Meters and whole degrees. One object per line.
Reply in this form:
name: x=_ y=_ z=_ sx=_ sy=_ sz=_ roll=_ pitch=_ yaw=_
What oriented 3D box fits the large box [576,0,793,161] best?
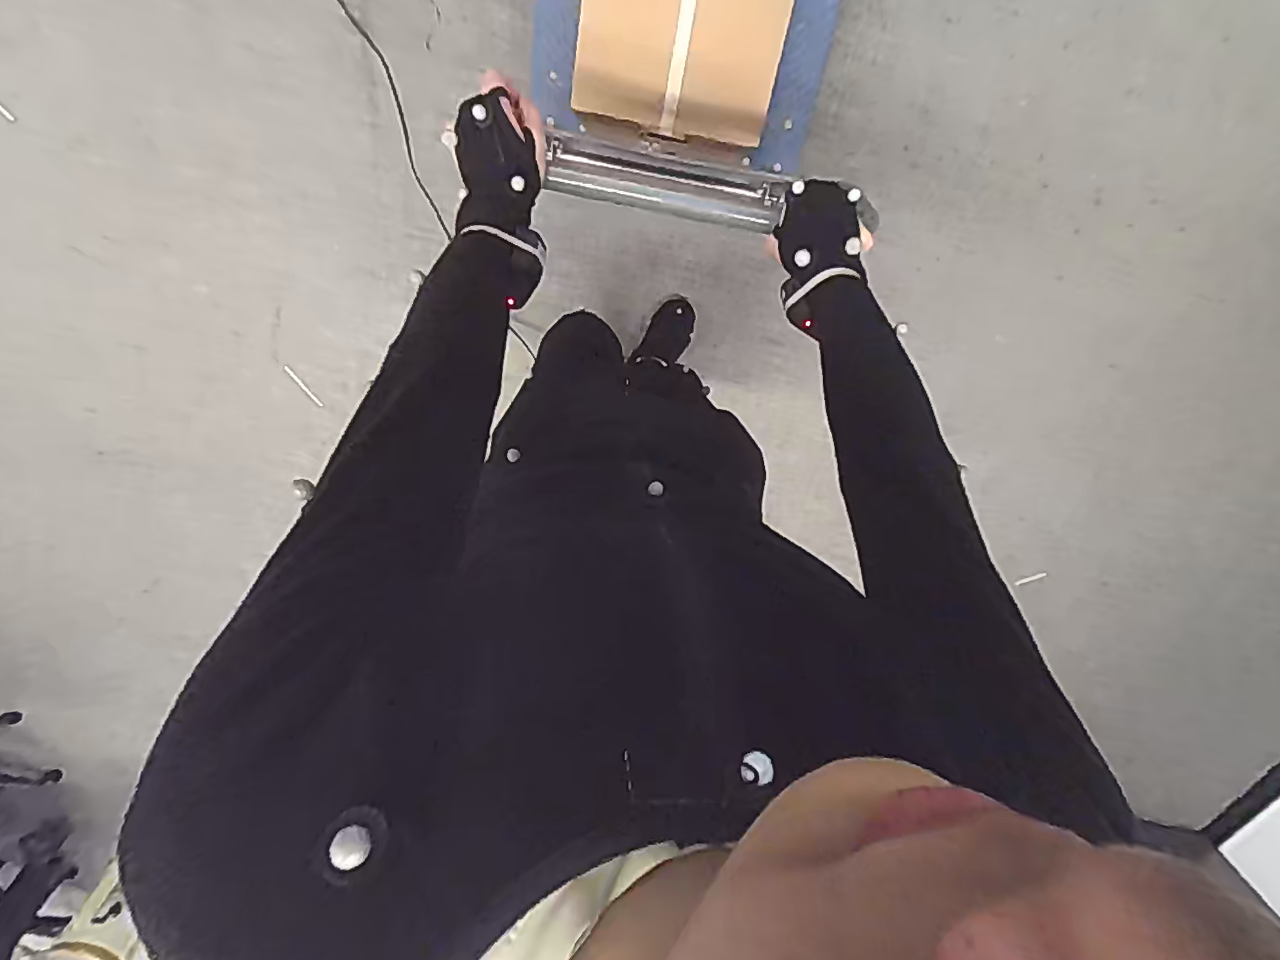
large box: x=0.082 y=-0.812 z=0.924 sx=0.320 sy=0.320 sz=0.408 roll=9 pitch=115 yaw=-4
